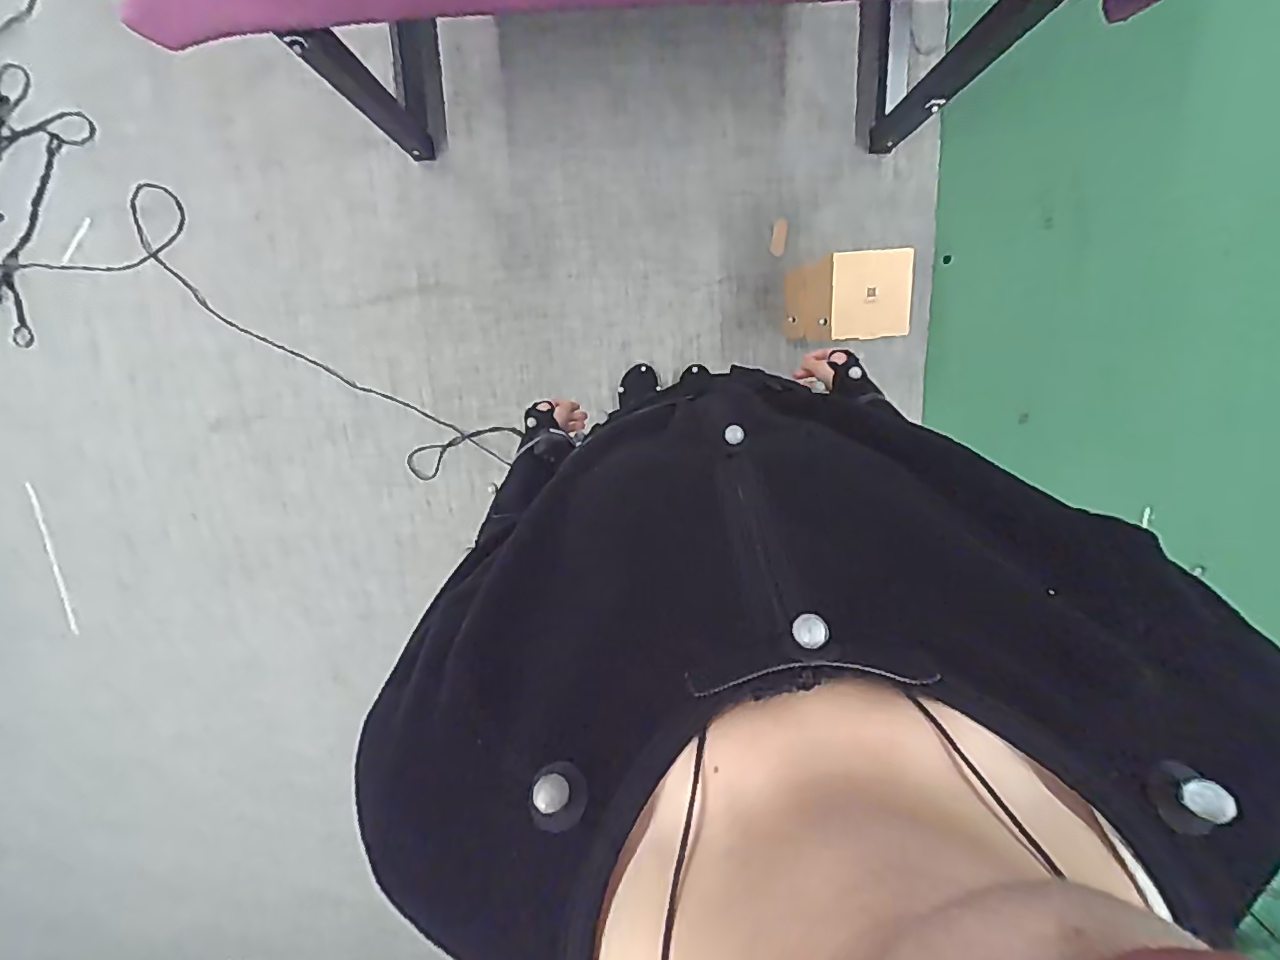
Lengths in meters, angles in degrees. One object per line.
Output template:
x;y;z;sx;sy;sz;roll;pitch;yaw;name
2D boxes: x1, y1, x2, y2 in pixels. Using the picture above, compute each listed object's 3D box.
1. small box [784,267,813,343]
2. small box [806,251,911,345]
0.465;-0.429;1.347;0.179;0.176;0.168;0;102;0;small box
0.471;-0.393;1.189;0.168;0.176;0.179;-3;103;0;small box
